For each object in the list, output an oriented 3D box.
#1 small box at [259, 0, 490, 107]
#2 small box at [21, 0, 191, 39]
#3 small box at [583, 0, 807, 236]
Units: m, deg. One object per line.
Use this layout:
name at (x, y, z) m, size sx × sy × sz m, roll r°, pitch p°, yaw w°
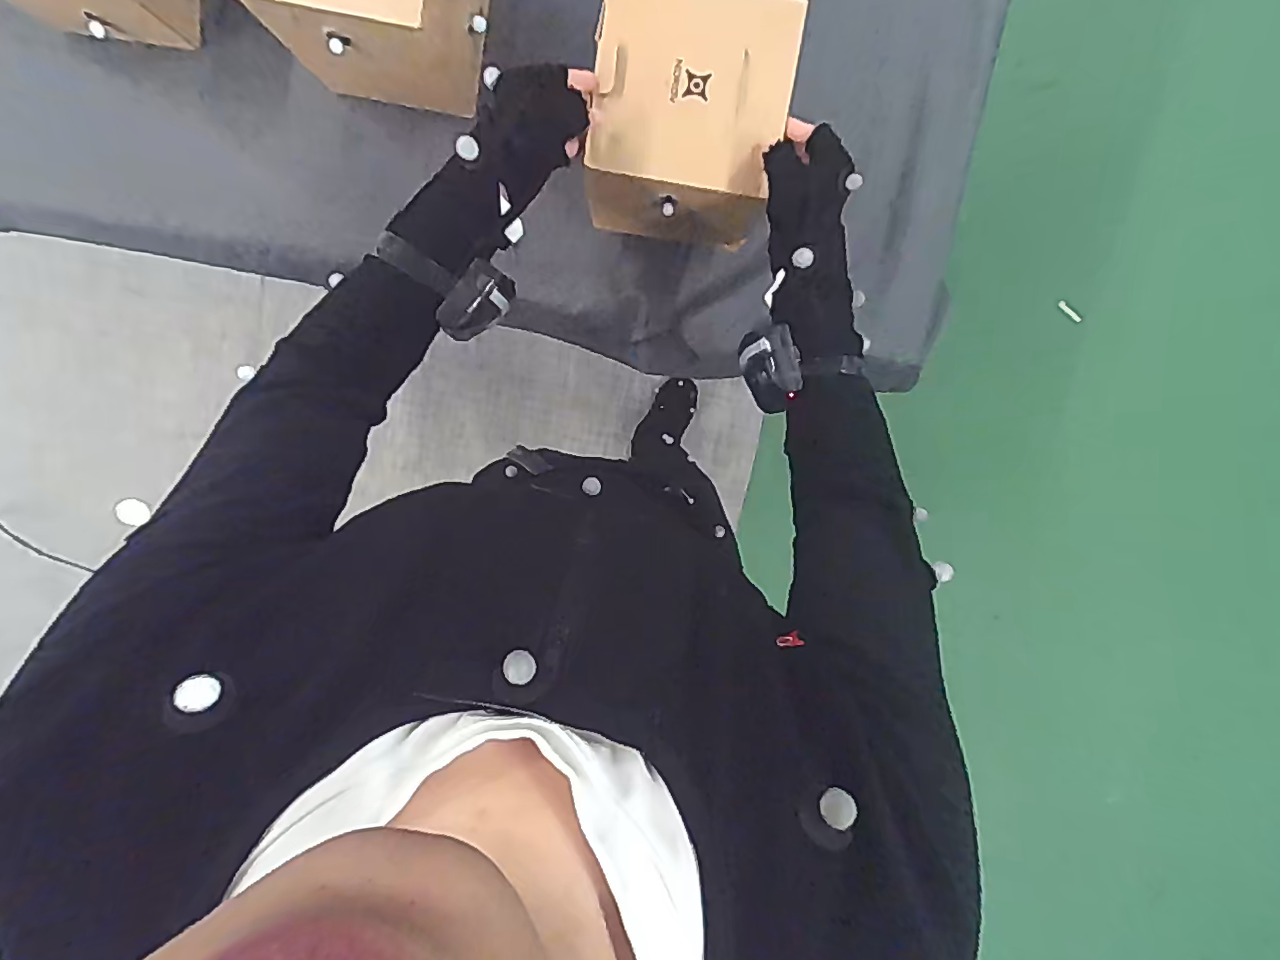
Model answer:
small box at (-0.270, -0.524, 0.557) m, size 0.179 × 0.176 × 0.168 m, roll 10°, pitch 100°, yaw -2°
small box at (-0.597, -0.594, 0.547) m, size 0.179 × 0.176 × 0.168 m, roll 7°, pitch 100°, yaw -2°
small box at (0.046, -0.366, 0.550) m, size 0.179 × 0.176 × 0.168 m, roll 8°, pitch 99°, yaw -3°
